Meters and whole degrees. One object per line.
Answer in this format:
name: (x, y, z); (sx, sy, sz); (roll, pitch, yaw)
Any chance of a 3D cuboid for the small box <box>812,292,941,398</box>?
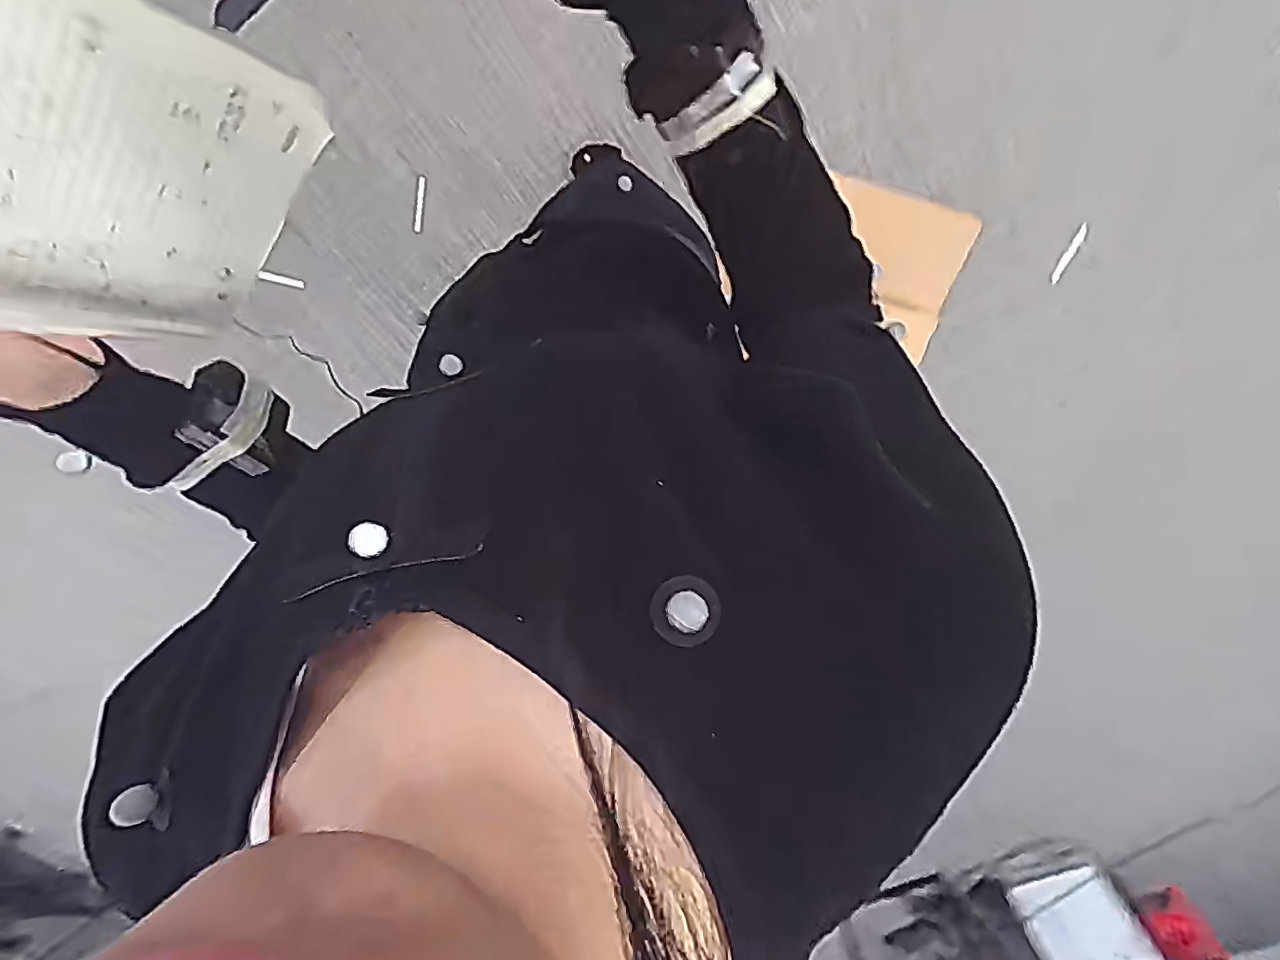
small box: (0.501, -0.300, 1.179); (0.179, 0.176, 0.168); (10, 120, -8)
